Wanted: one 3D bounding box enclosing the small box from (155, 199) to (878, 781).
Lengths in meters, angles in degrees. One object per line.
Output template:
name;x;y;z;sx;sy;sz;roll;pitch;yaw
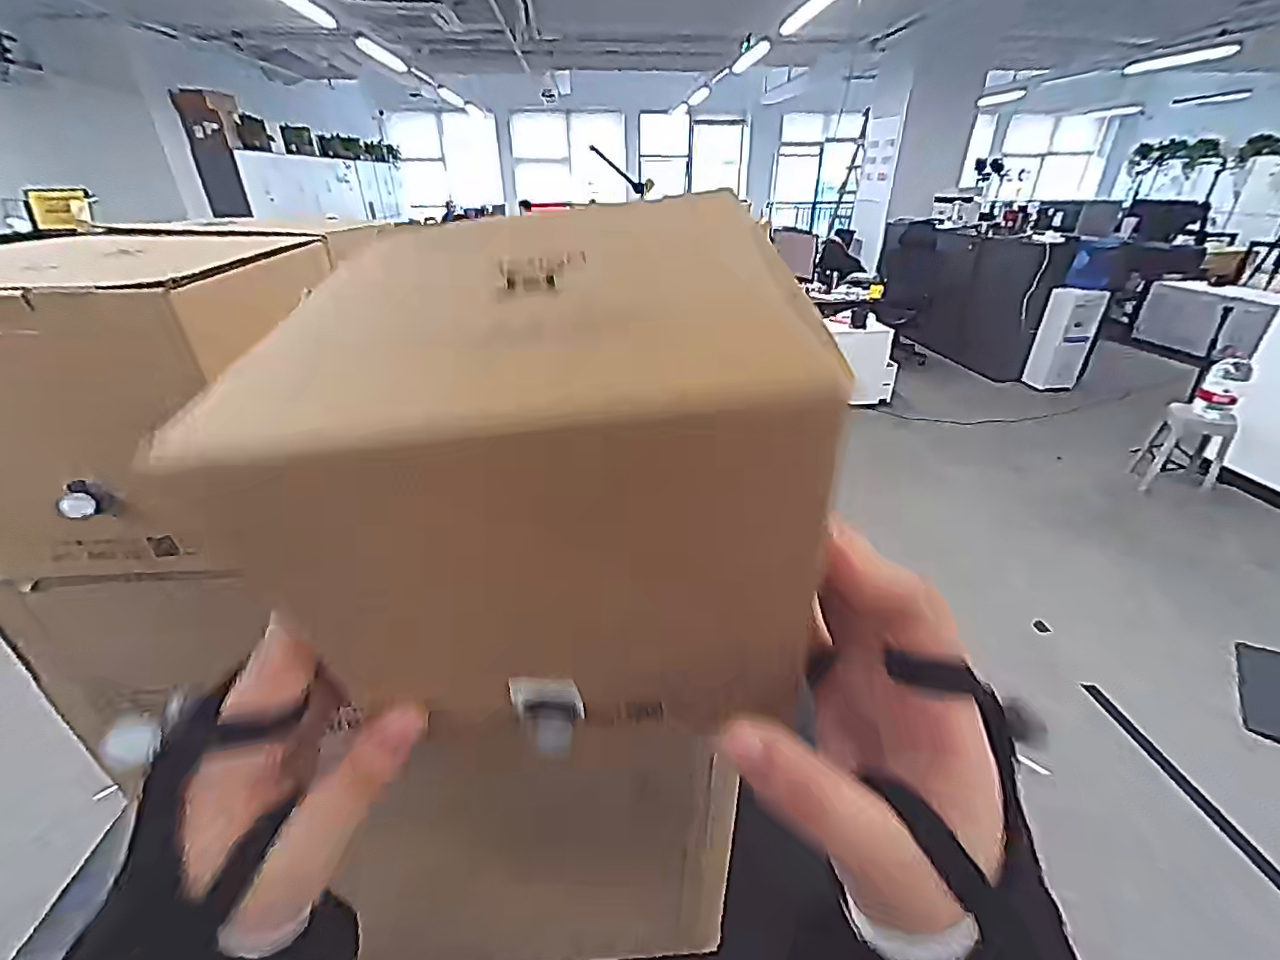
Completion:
small box;-0.025;0.001;0.233;0.168;0.176;0.179;-7;43;2

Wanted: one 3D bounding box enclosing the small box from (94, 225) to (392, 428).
small box;-0.341;-0.152;0.526;0.179;0.176;0.168;-1;28;-4
